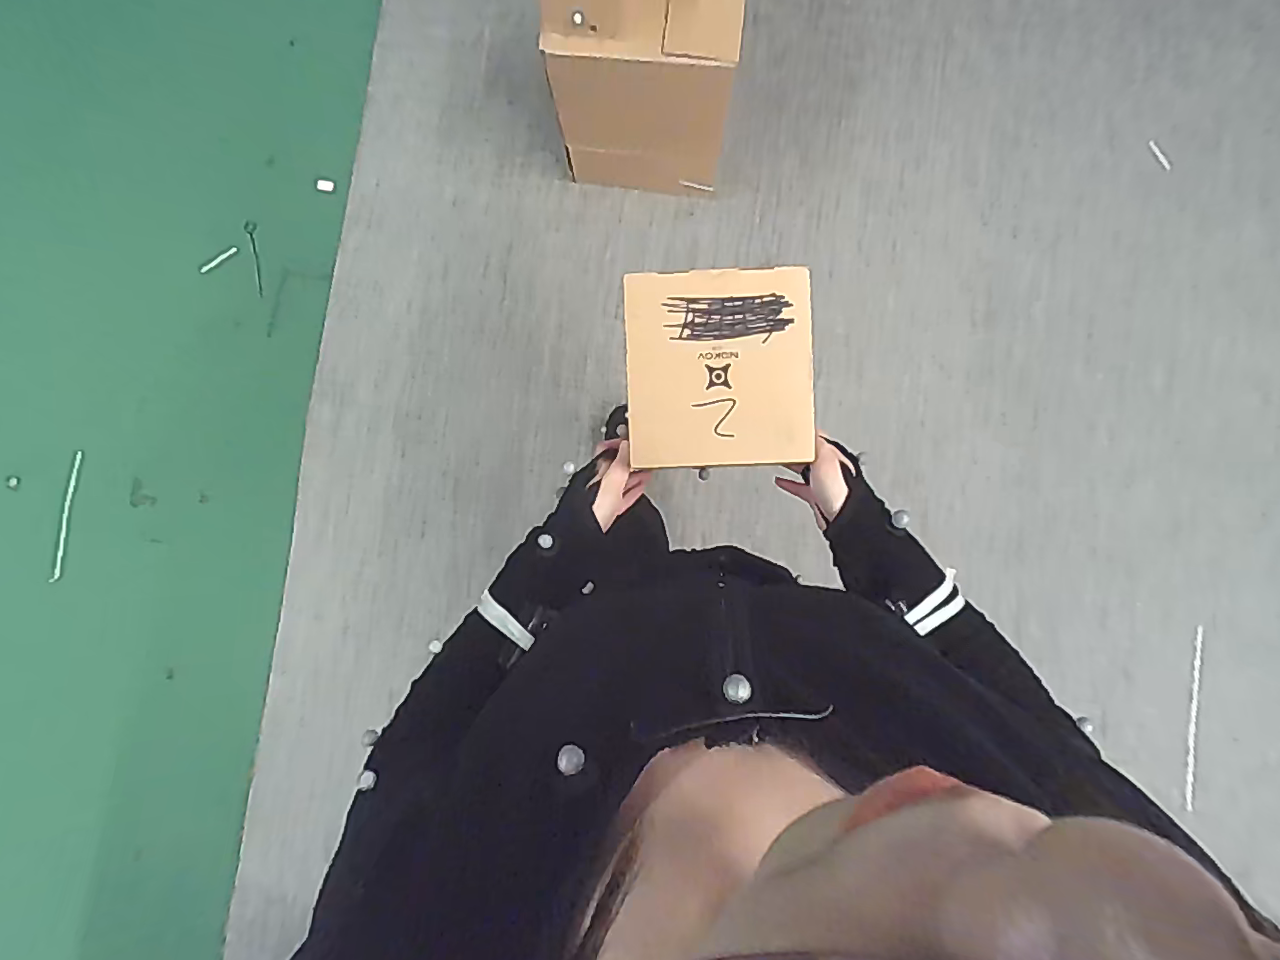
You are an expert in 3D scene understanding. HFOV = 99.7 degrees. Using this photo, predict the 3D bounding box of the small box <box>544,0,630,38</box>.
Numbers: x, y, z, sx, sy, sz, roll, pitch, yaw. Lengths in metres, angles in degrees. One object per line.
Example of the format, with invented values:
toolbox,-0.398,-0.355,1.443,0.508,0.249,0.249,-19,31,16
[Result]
small box,-0.099,-0.997,1.021,0.168,0.176,0.179,8,90,1
